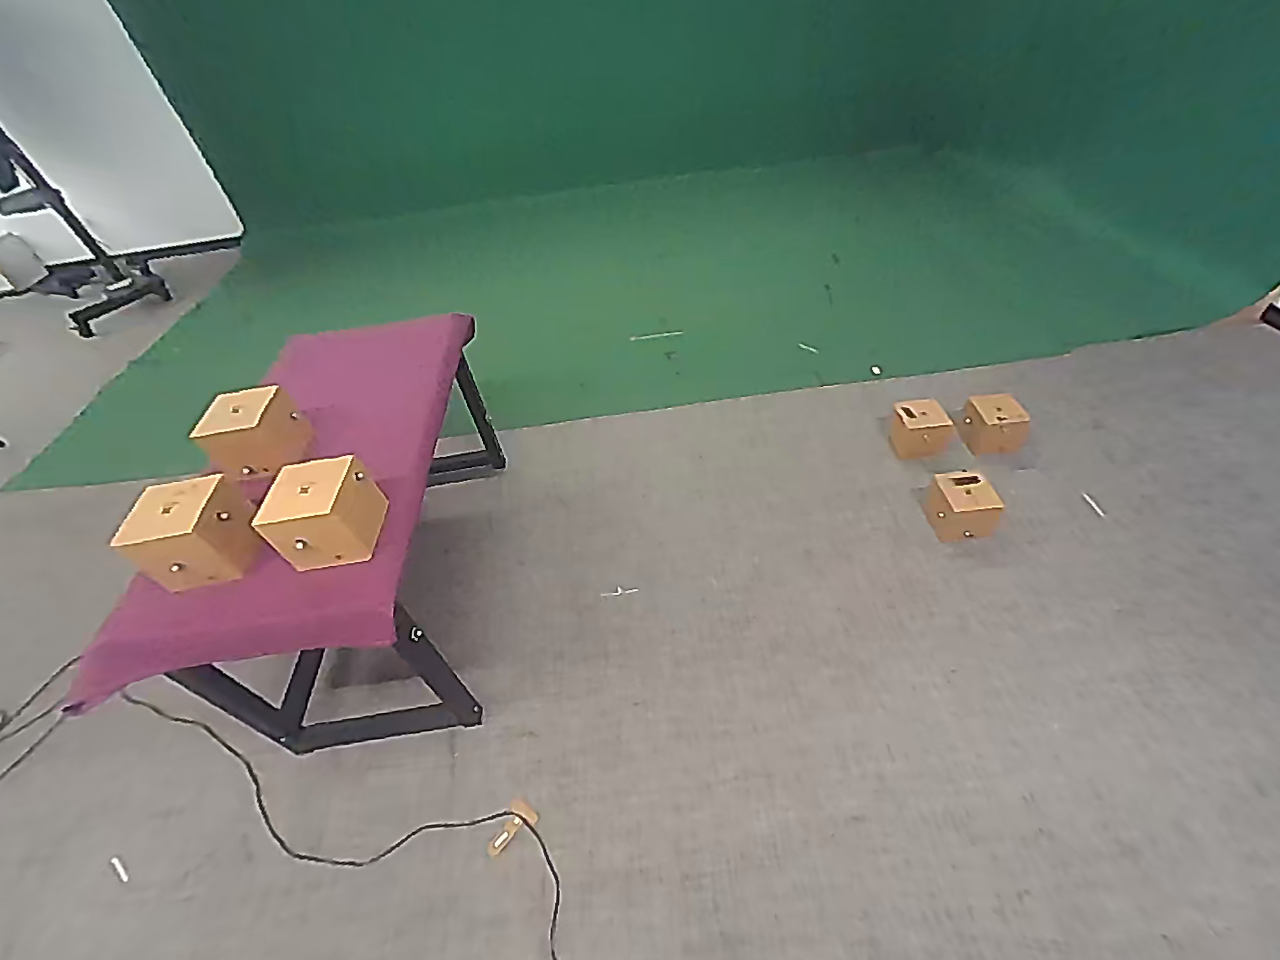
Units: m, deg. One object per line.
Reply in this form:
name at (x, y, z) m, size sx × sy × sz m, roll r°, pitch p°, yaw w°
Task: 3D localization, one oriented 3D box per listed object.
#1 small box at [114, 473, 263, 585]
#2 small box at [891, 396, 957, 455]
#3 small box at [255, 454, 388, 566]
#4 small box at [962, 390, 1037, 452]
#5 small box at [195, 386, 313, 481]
small box at (-0.972, 0.115, 1.192) m, size 0.168 × 0.176 × 0.179 m, roll -10°, pitch 45°, yaw -2°
small box at (1.136, -0.215, 2.184) m, size 0.179 × 0.176 × 0.168 m, roll -7°, pitch 46°, yaw 2°
small box at (-0.684, 0.073, 1.188) m, size 0.168 × 0.176 × 0.179 m, roll -9°, pitch 45°, yaw 2°
small box at (1.424, -0.234, 2.158) m, size 0.168 × 0.176 × 0.179 m, roll -6°, pitch 45°, yaw 4°
small box at (-1.006, -0.122, 1.431) m, size 0.168 × 0.176 × 0.179 m, roll -10°, pitch 46°, yaw 0°
